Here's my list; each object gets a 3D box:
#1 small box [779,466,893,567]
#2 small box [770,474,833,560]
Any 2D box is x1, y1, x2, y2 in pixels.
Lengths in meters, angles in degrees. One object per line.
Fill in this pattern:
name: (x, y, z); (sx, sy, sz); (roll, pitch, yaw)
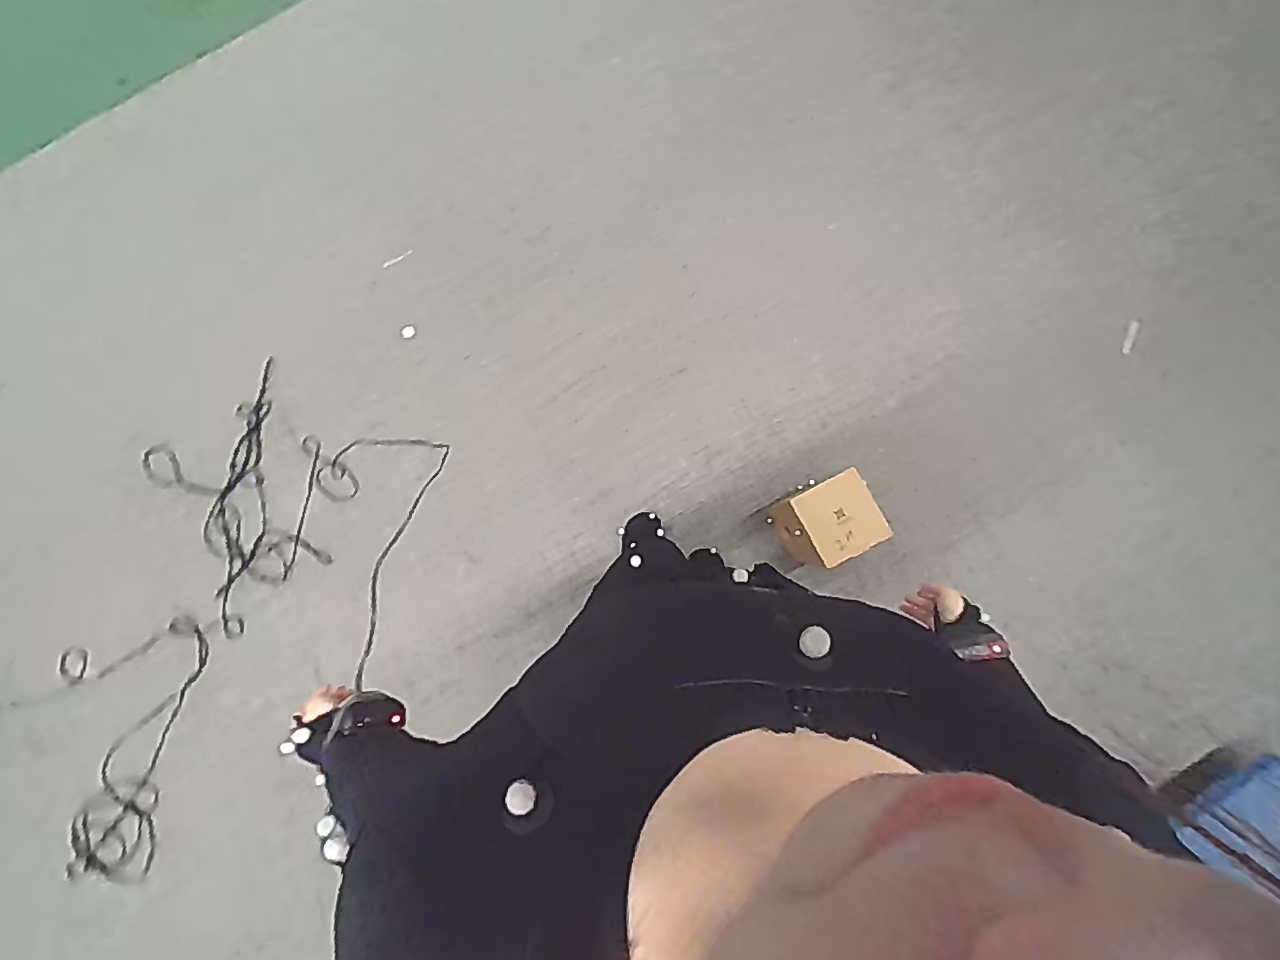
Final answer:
small box: (0.444, 0.089, 1.261); (0.168, 0.176, 0.179); (-27, 83, 1)
small box: (0.459, 0.101, 1.425); (0.179, 0.176, 0.168); (-28, 83, 0)
